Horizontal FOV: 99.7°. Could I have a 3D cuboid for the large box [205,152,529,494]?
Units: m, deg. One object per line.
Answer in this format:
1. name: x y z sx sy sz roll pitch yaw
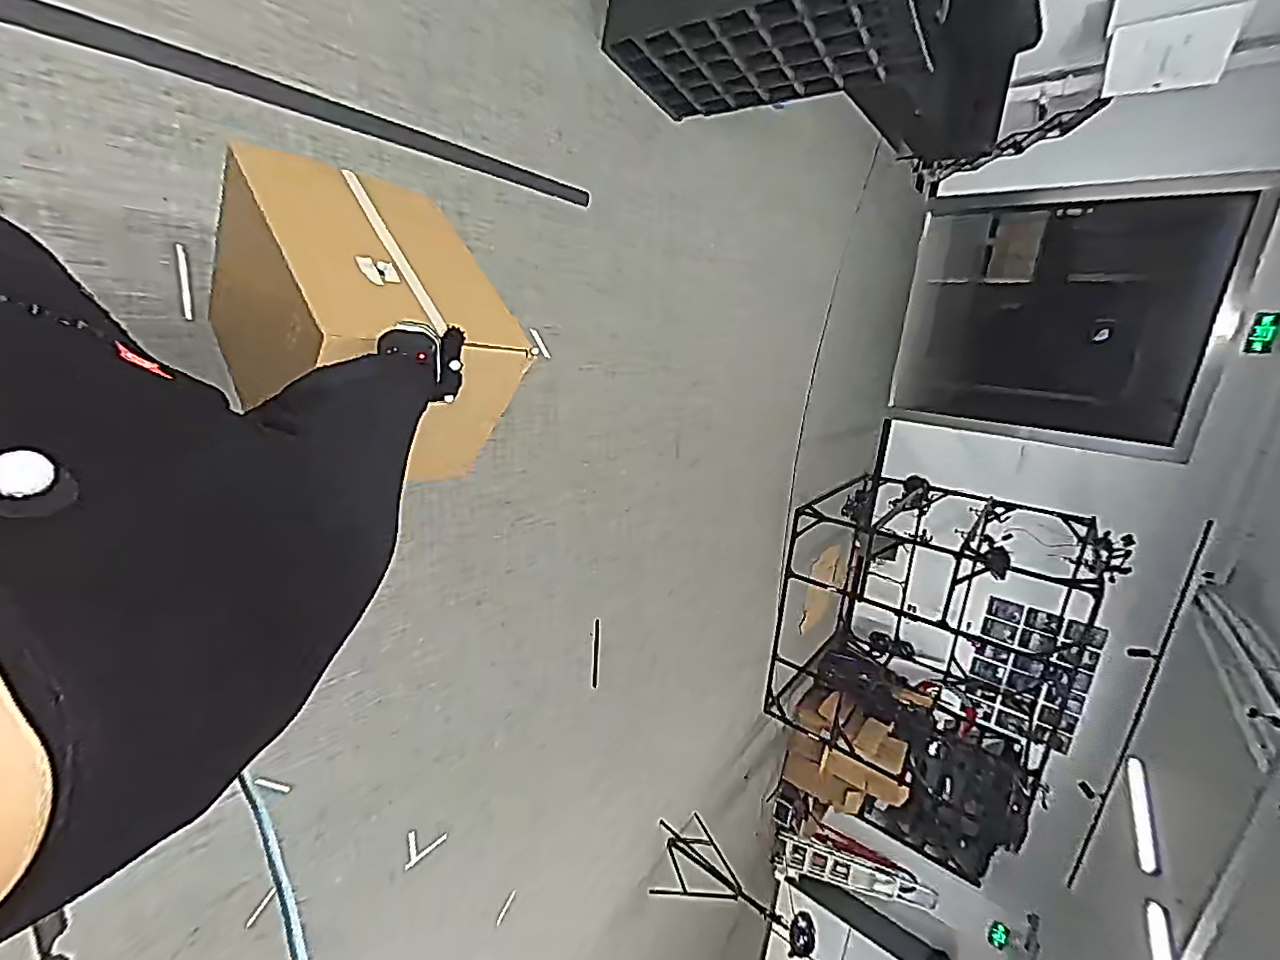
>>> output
1. large box: -0.465 -0.239 0.903 0.320 0.408 0.320 -11 151 -50
